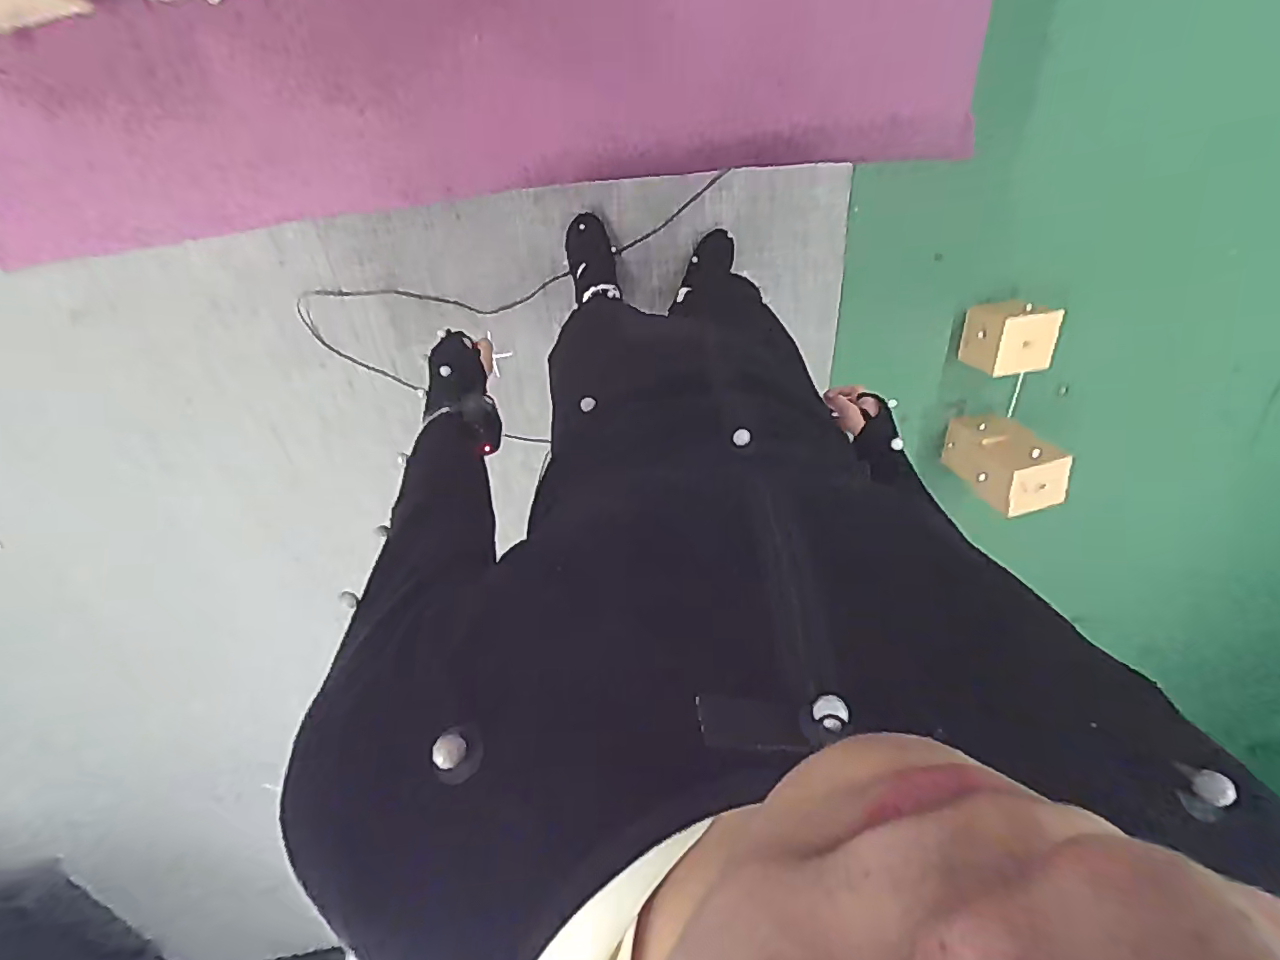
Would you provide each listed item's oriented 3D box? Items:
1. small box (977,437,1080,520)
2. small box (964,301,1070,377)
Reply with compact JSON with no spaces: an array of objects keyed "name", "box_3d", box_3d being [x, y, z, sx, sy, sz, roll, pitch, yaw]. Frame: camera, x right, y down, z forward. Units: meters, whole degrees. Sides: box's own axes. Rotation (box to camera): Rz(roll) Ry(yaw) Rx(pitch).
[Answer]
[{"name":"small box","box_3d":[1.159,-0.011,1.624,0.179,0.176,0.168,-16,120,2]},{"name":"small box","box_3d":[1.087,-0.413,1.576,0.179,0.176,0.168,-10,120,-4]}]
